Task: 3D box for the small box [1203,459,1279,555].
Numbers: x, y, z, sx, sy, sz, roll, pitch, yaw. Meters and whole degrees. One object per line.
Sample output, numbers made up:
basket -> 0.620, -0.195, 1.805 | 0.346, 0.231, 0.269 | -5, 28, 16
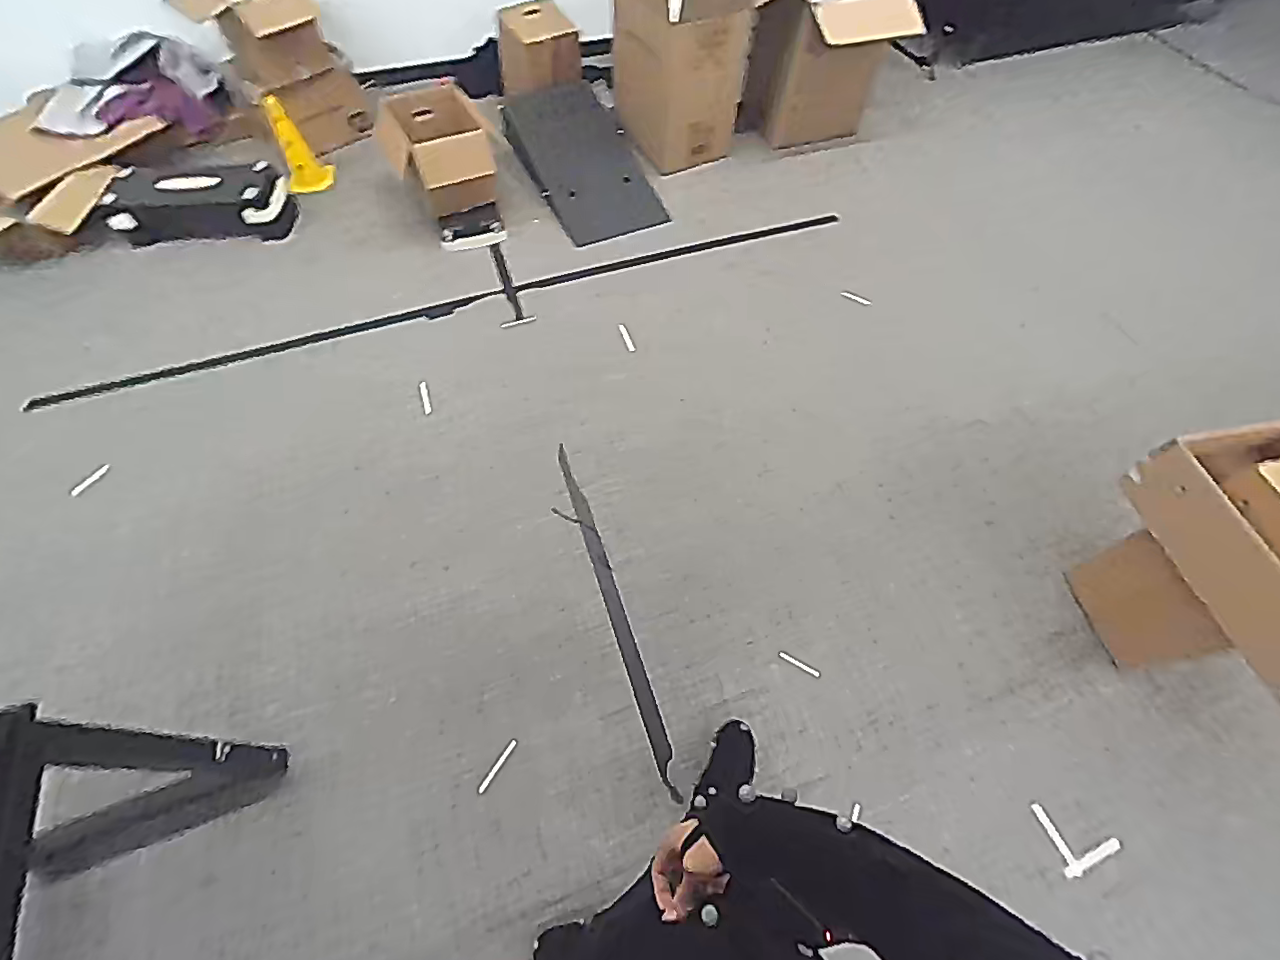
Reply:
small box -> 1.479, 0.059, 1.248 | 0.179, 0.176, 0.168 | -10, 61, -8
